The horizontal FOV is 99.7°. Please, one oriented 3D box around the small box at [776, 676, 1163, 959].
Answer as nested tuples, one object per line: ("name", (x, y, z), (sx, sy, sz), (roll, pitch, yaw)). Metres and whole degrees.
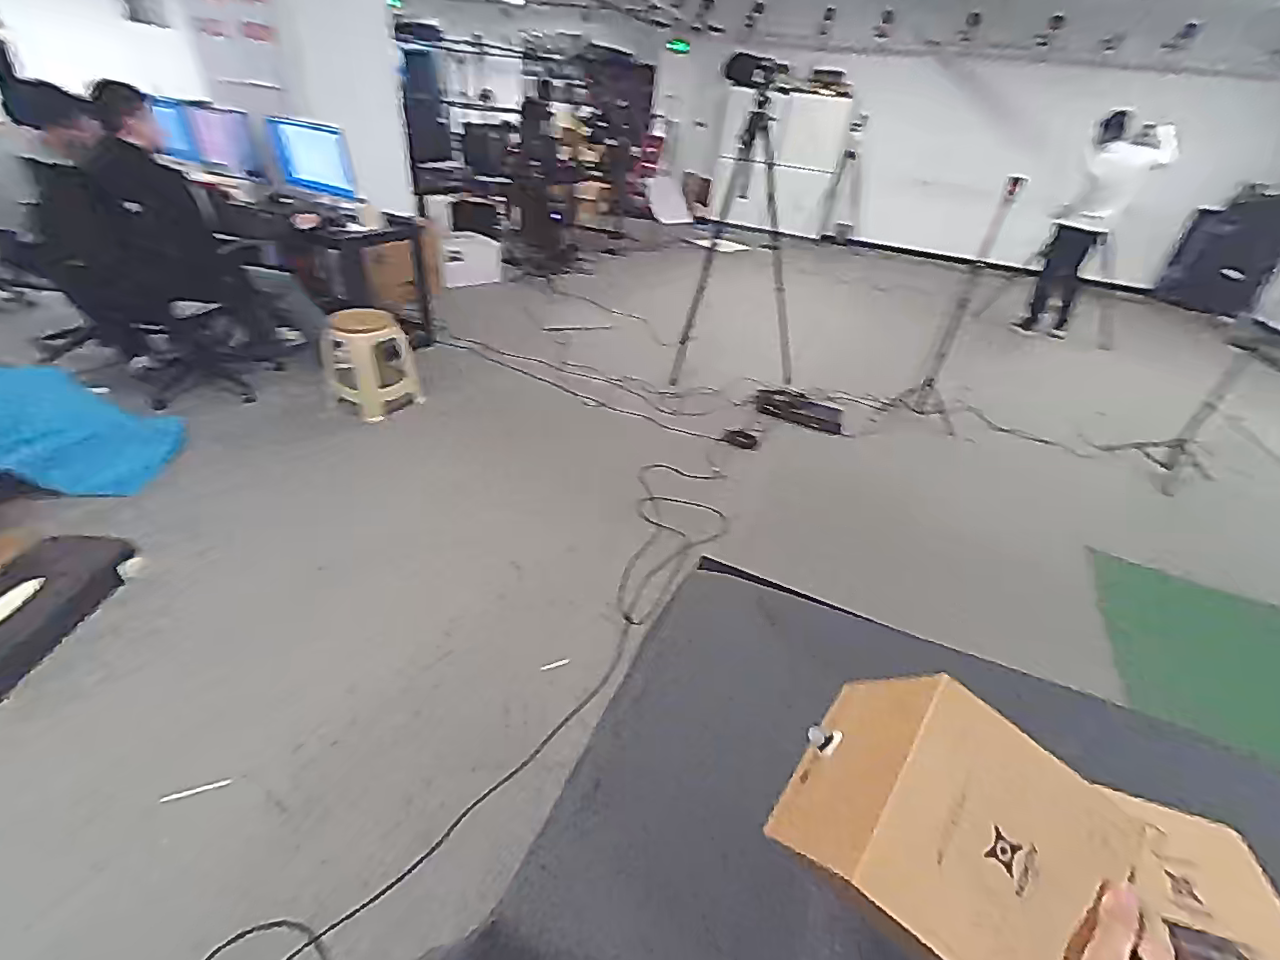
("small box", (0.245, 0.281, 0.438), (0.179, 0.176, 0.168), (37, 67, 7))
